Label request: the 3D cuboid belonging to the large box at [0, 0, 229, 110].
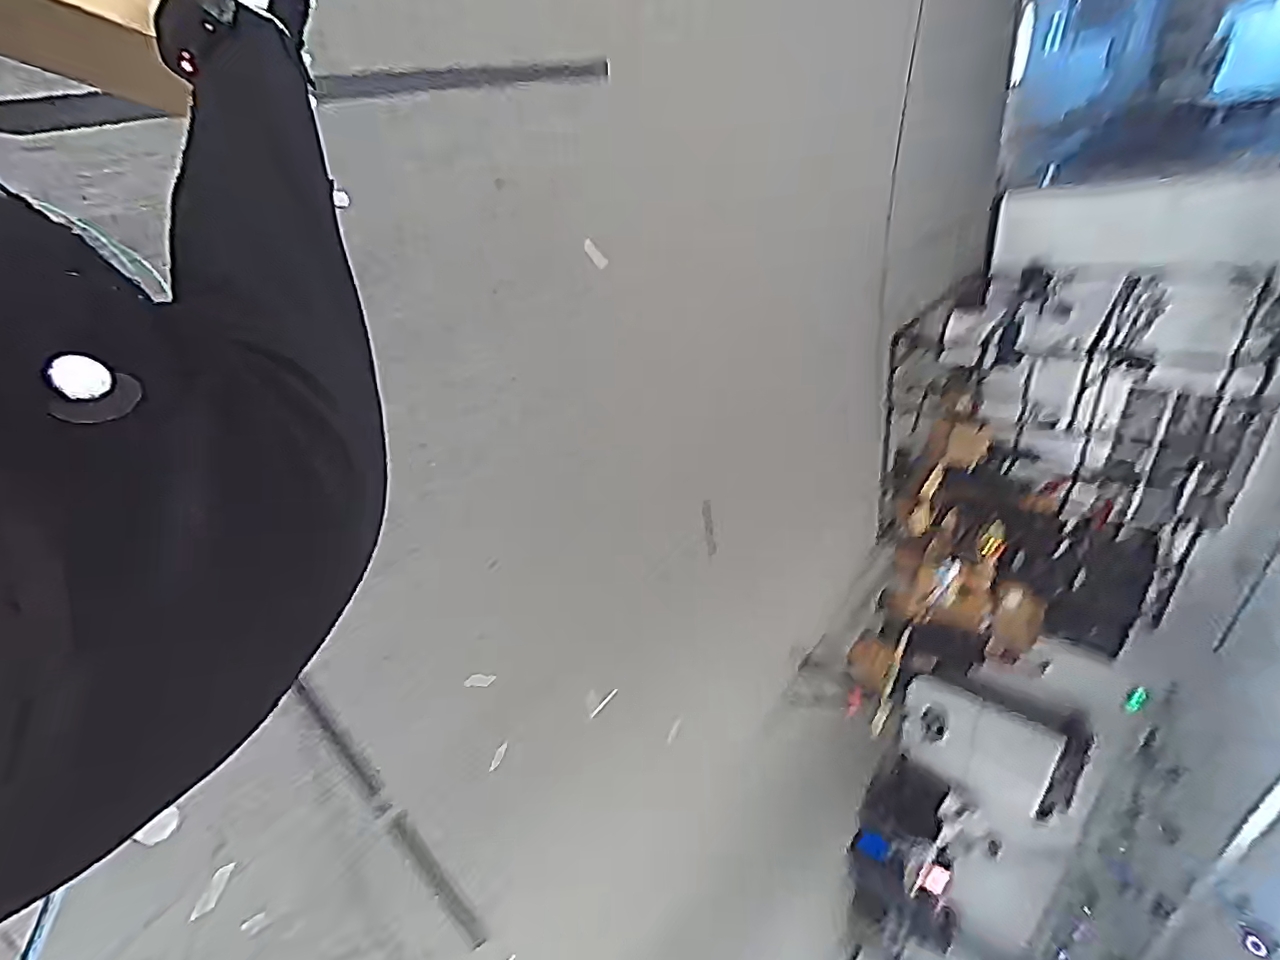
[{"bbox_3d":[-0.563,-0.532,0.385,0.408,0.320,0.320,-2,109,-45],"label":"large box"}]
